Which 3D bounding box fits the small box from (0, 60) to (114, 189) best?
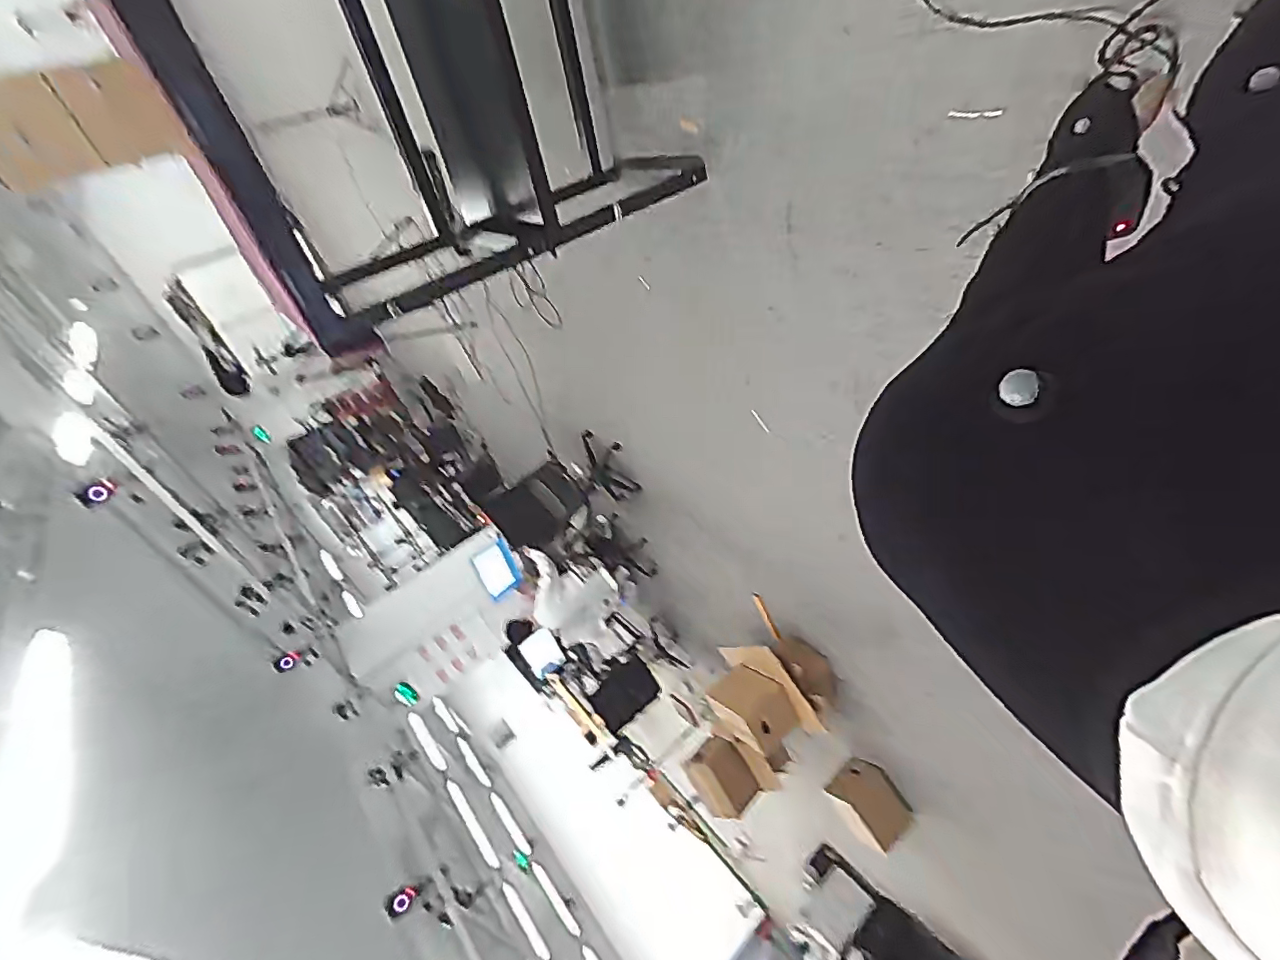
[{"bbox_3d":[-1.199,-0.703,1.070,0.168,0.176,0.179,34,149,39],"label":"small box"}]
